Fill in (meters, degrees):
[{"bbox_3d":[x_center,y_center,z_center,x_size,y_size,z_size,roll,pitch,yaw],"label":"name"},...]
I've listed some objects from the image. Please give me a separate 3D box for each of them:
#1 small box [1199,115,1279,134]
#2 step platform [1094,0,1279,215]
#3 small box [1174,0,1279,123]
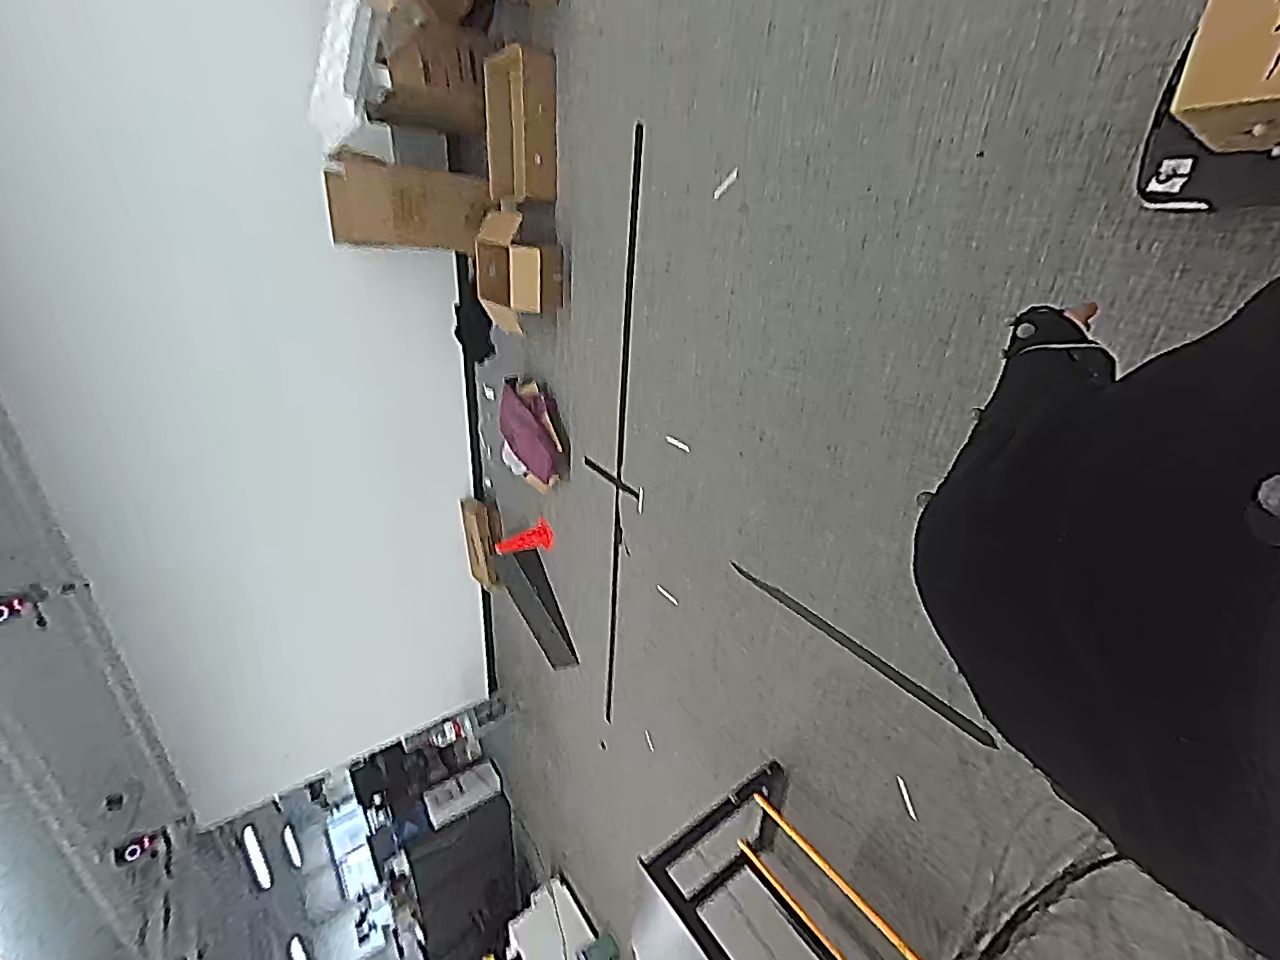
[{"bbox_3d":[0.905,-0.566,0.717,0.168,0.176,0.179,31,127,45],"label":"small box"},{"bbox_3d":[0.975,-0.455,0.602,0.684,0.204,0.286,30,126,45],"label":"step platform"},{"bbox_3d":[0.774,-0.535,0.623,0.168,0.176,0.179,29,126,46],"label":"small box"}]
